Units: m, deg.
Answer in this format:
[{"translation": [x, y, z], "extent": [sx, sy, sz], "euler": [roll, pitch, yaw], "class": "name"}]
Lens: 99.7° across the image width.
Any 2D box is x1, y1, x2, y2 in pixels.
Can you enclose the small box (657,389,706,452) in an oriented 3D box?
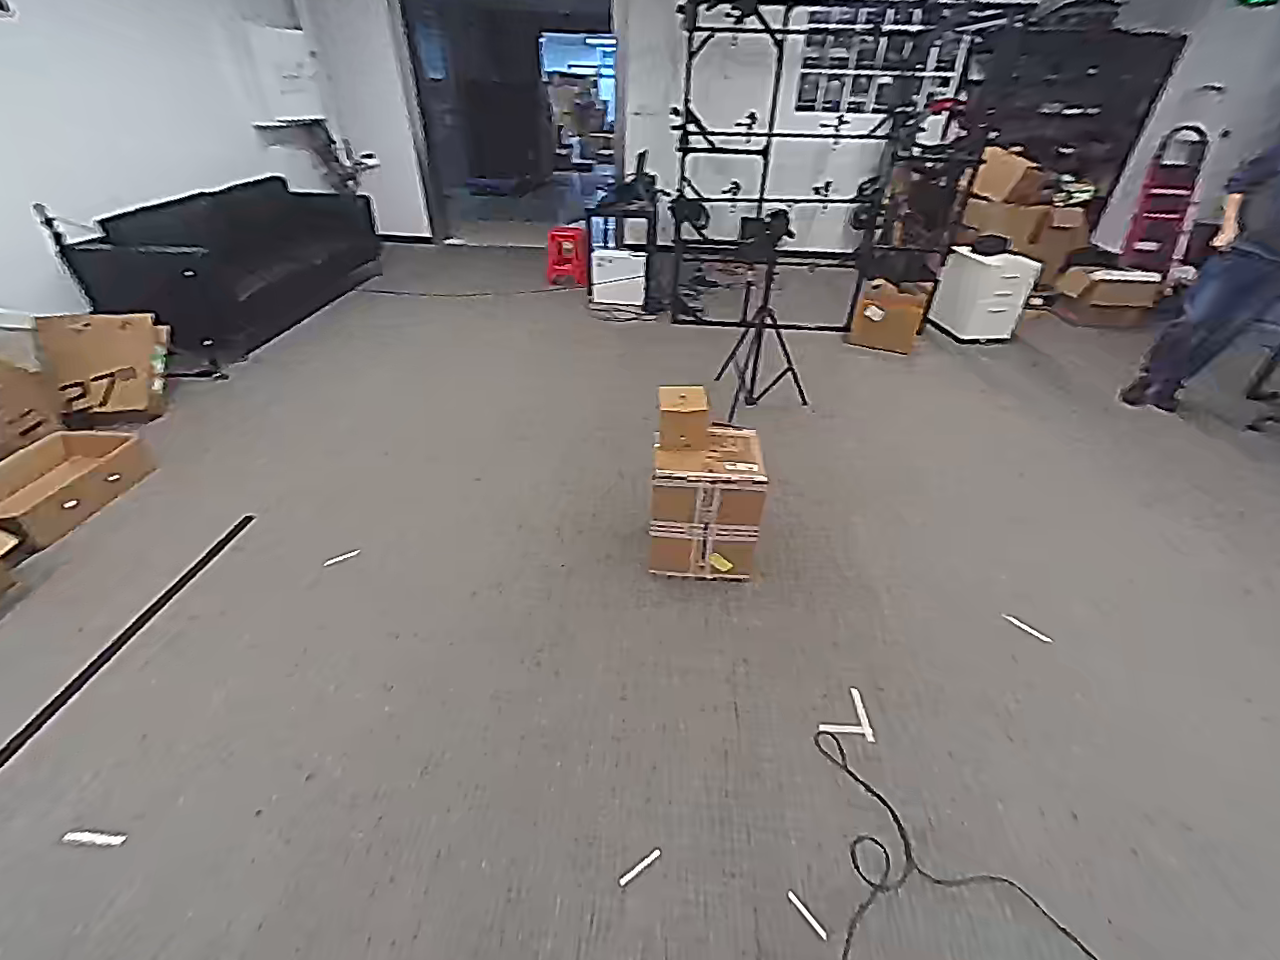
[{"translation": [0.146, -0.219, 1.973], "extent": [0.168, 0.176, 0.179], "euler": [-1, 38, 1], "class": "small box"}]
